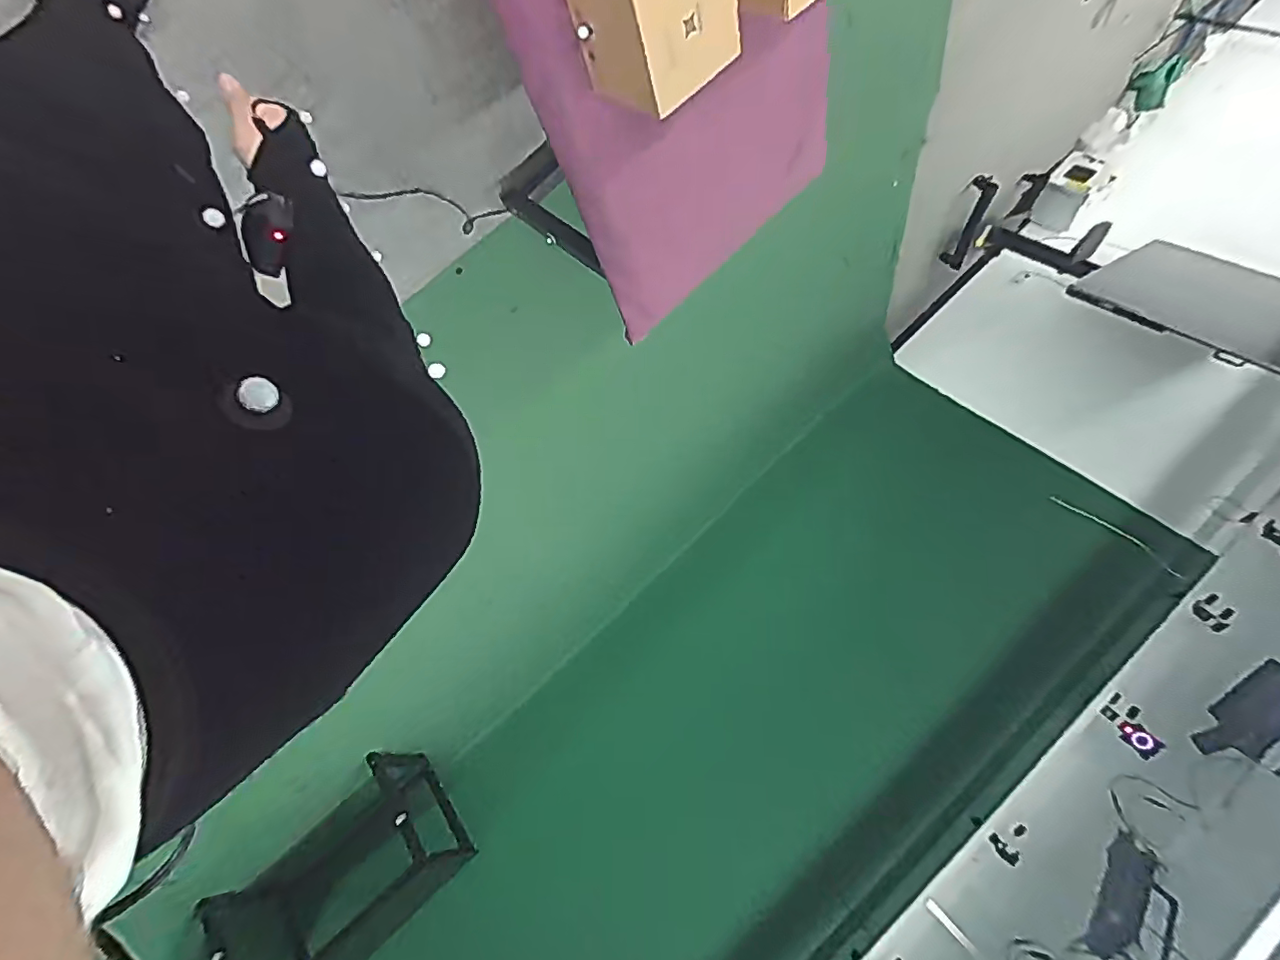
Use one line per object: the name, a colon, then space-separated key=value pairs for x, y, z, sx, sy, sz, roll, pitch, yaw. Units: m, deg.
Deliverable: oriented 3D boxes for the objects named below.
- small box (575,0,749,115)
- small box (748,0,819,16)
small box: x=0.030 y=-0.673 z=0.769 sx=0.179 sy=0.176 sz=0.168 roll=-42 pitch=150 yaw=-7
small box: x=0.235 y=-0.852 z=0.807 sx=0.179 sy=0.176 sz=0.168 roll=-41 pitch=151 yaw=-6
